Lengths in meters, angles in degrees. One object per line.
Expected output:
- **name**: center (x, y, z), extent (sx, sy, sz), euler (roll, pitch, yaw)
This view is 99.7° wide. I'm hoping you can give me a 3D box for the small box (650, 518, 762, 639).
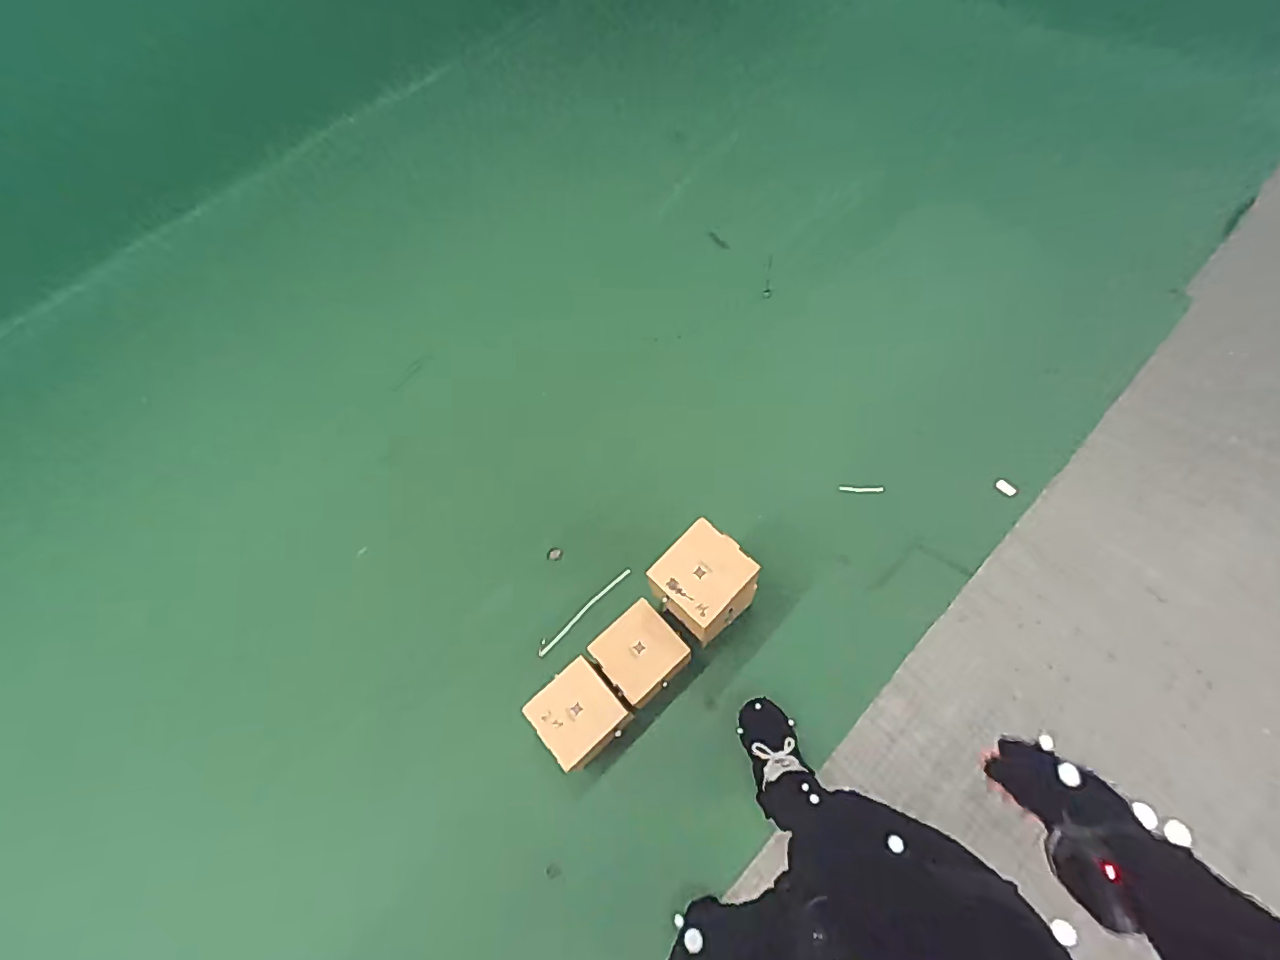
- **small box**: center (0.139, 0.220, 1.183), extent (0.179, 0.176, 0.168), euler (-42, 68, -14)
